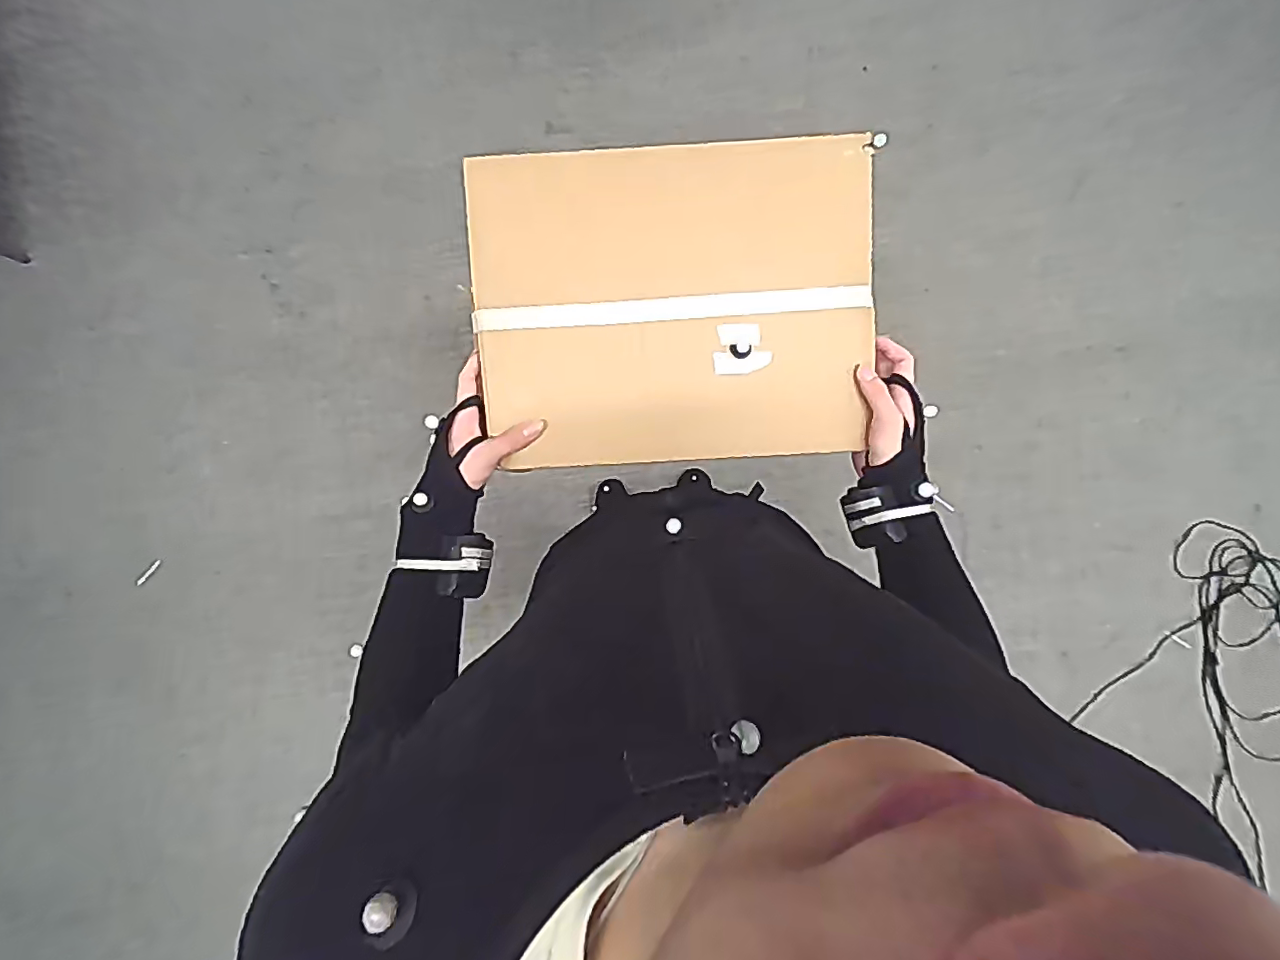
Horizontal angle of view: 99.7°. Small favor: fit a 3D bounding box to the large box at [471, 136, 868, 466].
[{"bbox_3d":[0.034,-0.198,0.708,0.408,0.320,0.320,-3,98,0],"label":"large box"}]
